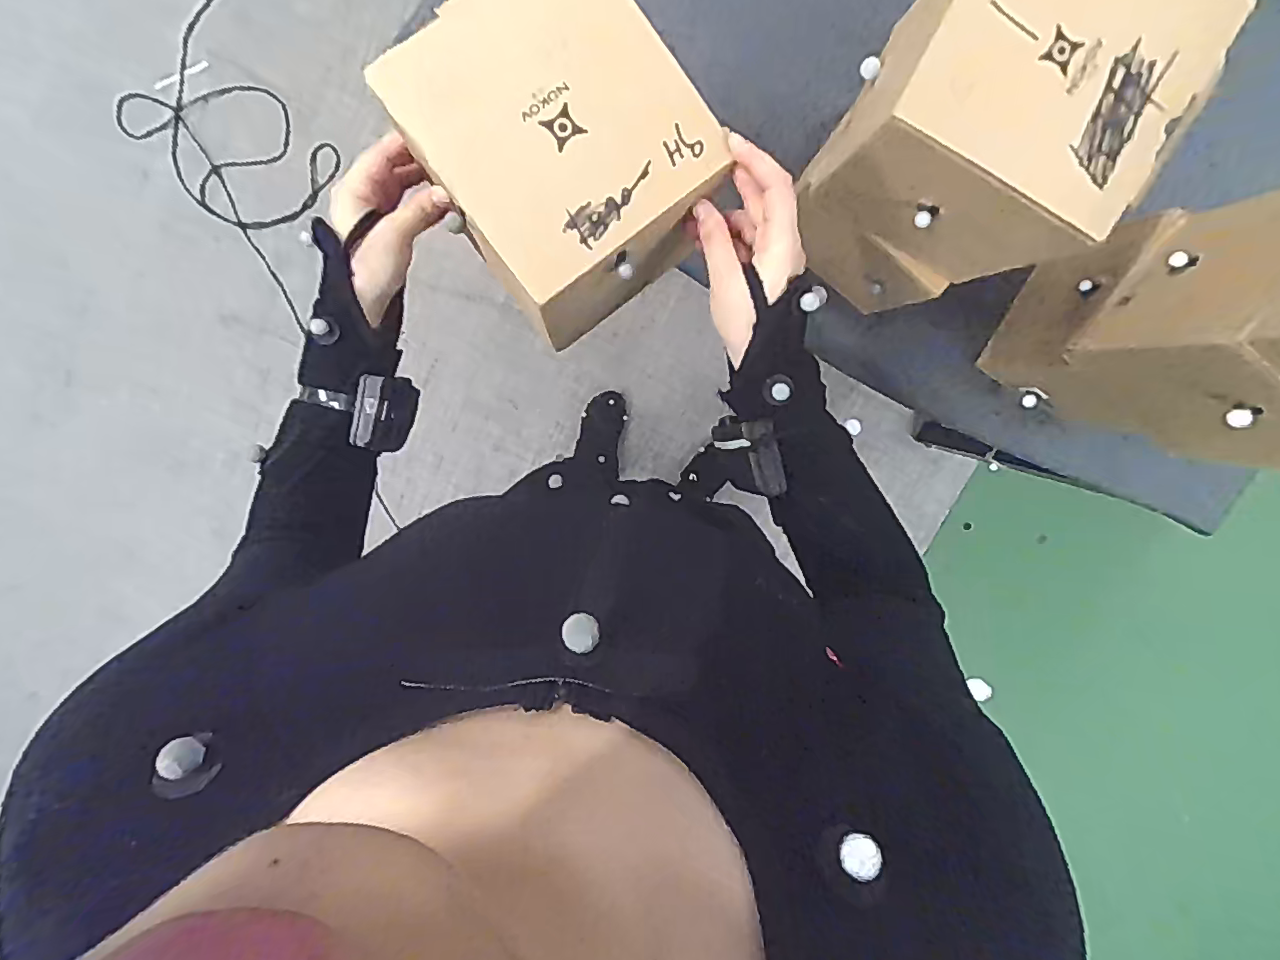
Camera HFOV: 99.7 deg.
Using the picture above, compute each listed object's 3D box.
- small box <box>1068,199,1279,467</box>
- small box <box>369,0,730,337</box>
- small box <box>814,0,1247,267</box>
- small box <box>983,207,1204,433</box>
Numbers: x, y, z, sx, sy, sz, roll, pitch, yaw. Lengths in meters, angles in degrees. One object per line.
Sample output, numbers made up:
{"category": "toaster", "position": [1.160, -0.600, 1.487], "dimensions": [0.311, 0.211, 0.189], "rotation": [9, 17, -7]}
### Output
{"category": "small box", "position": [0.543, -0.126, 0.466], "dimensions": [0.179, 0.176, 0.168], "rotation": [38, 98, -7]}
{"category": "small box", "position": [-0.061, -0.241, 0.423], "dimensions": [0.168, 0.176, 0.179], "rotation": [-37, 93, -3]}
{"category": "small box", "position": [0.272, -0.288, 0.425], "dimensions": [0.179, 0.176, 0.168], "rotation": [27, 100, -6]}
{"category": "small box", "position": [0.548, -0.171, 0.623], "dimensions": [0.168, 0.176, 0.179], "rotation": [27, 101, -5]}
